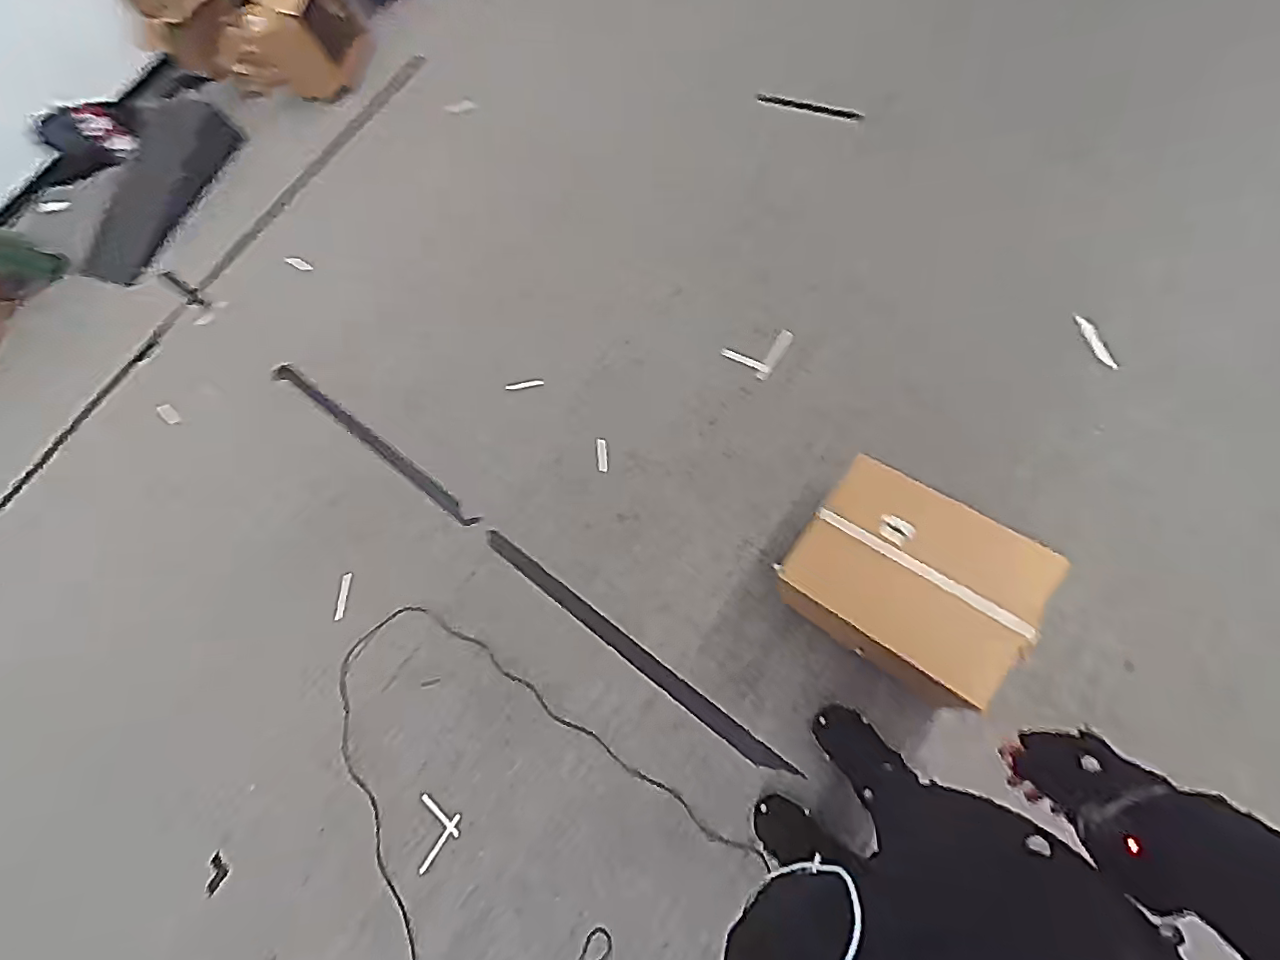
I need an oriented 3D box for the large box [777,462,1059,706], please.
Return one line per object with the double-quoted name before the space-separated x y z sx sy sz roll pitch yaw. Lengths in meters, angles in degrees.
"large box" 0.554 0.228 1.158 0.408 0.320 0.320 33 79 25
